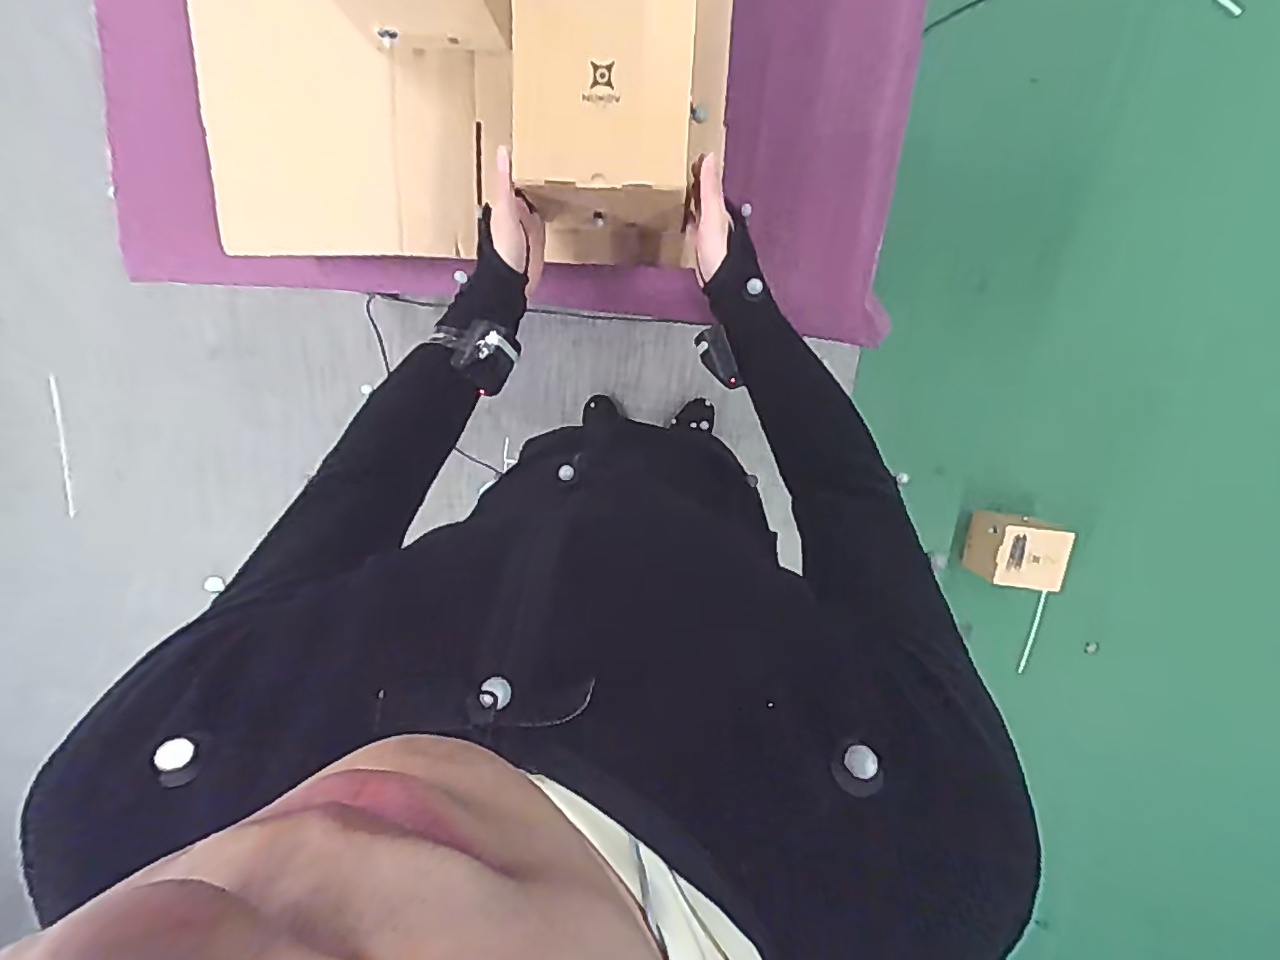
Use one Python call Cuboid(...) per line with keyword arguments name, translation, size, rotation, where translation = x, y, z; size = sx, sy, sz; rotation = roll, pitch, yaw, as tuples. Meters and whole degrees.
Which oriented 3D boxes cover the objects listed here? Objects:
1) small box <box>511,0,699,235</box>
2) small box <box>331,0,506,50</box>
Cuboid(name="small box", translation=(-0.032, -0.372, 0.565), size=(0.168, 0.176, 0.179), rotation=(3, 103, 2))
Cuboid(name="small box", translation=(-0.233, -0.563, 0.529), size=(0.168, 0.176, 0.179), rotation=(3, 102, 1))
